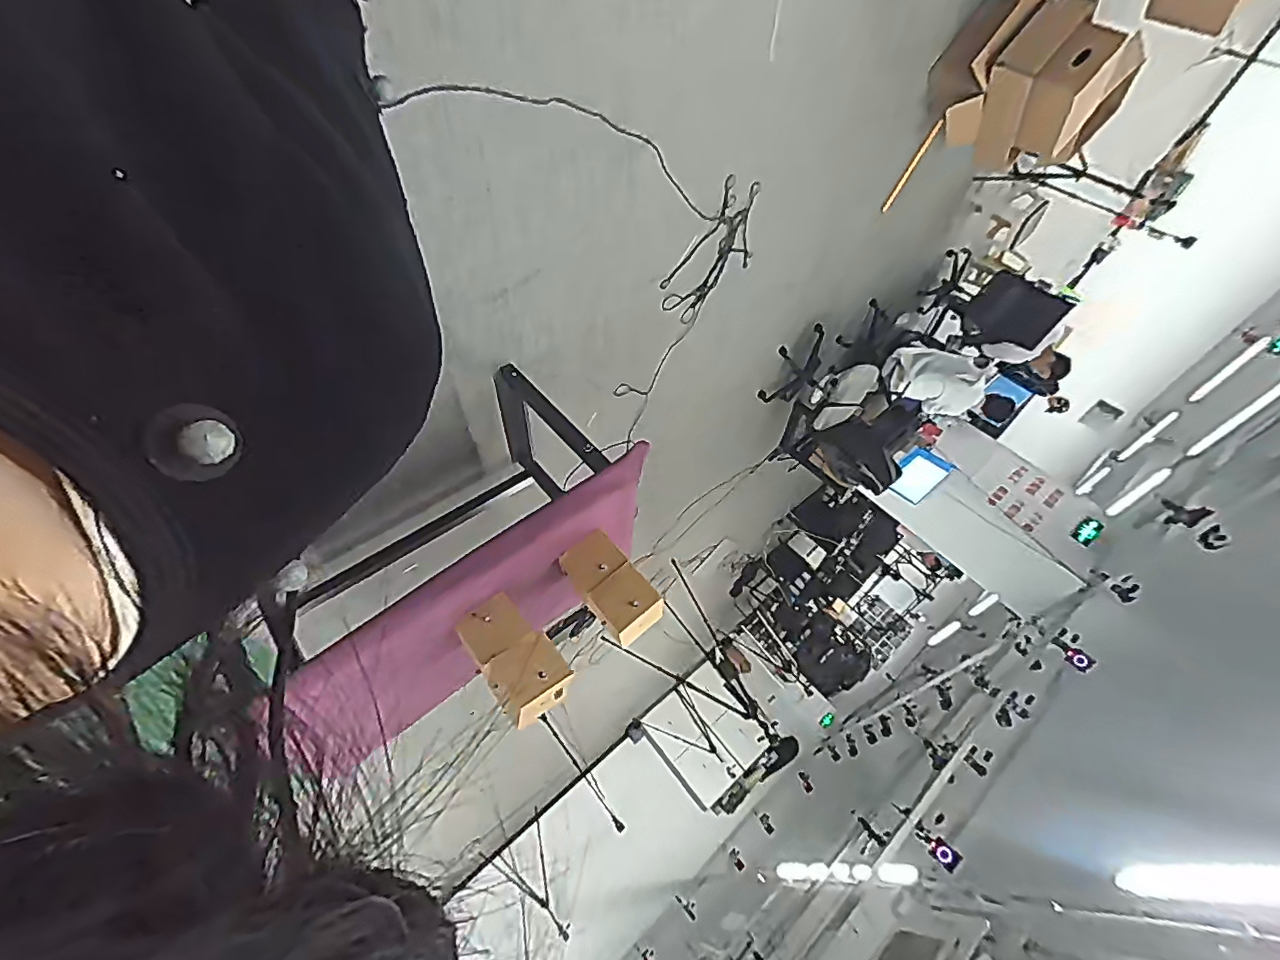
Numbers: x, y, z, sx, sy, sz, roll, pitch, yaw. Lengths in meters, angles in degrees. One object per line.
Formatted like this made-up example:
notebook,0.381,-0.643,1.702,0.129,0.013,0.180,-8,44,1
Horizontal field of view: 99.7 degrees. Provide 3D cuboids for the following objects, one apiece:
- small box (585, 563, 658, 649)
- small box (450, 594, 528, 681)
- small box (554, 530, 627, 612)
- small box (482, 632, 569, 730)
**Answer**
small box,-0.061,0.399,1.720,0.179,0.176,0.168,-37,152,-20
small box,-0.447,0.475,1.623,0.168,0.176,0.179,-33,152,-27
small box,-0.161,0.296,1.794,0.179,0.176,0.168,-35,152,-21
small box,-0.332,0.572,1.556,0.179,0.176,0.168,-25,148,-36
